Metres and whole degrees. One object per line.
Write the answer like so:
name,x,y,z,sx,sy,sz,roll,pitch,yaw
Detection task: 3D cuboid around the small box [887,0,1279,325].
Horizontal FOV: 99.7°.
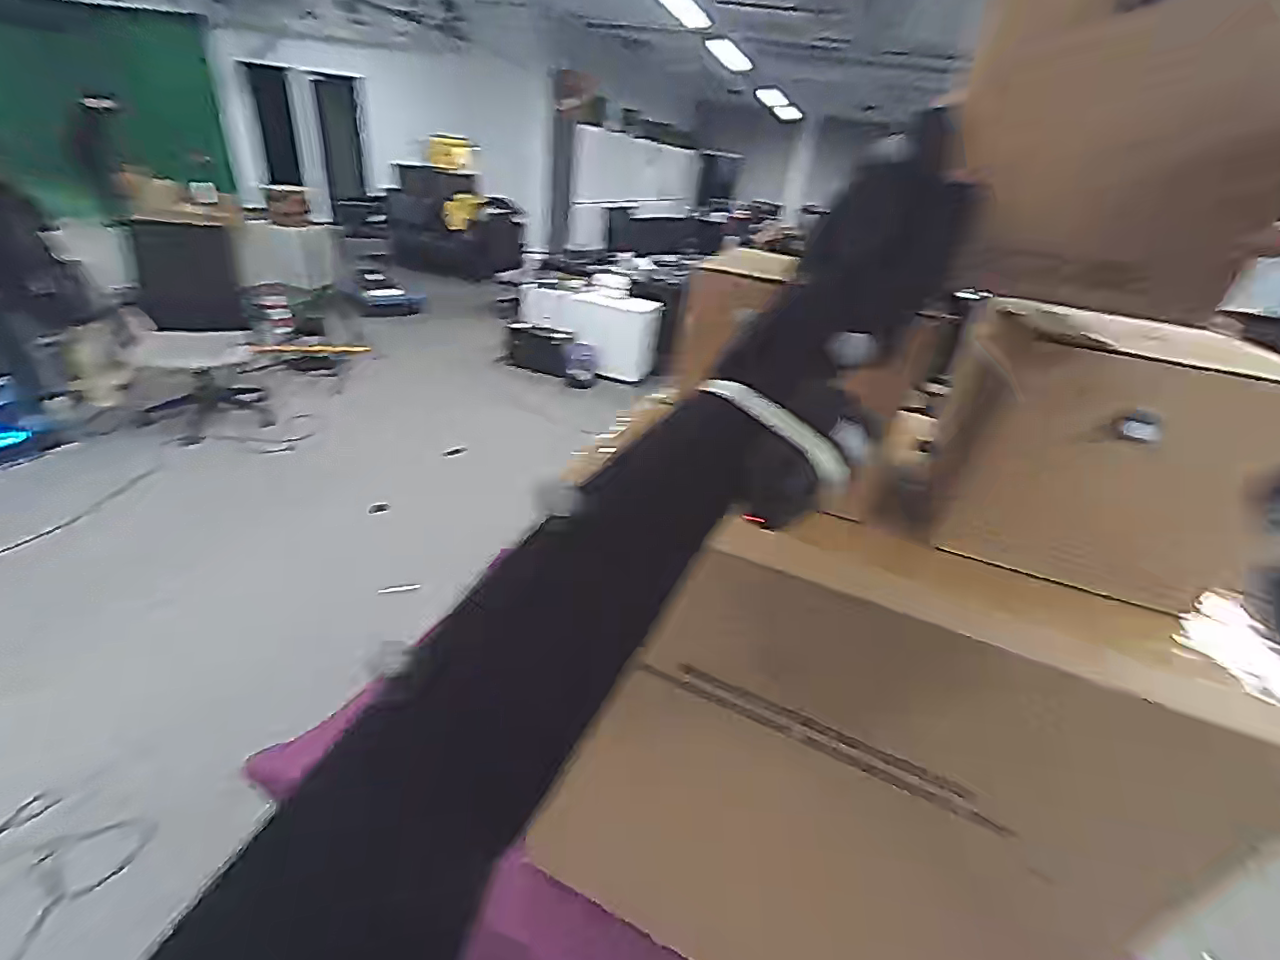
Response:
small box,0.273,-0.210,0.353,0.168,0.176,0.179,17,31,21

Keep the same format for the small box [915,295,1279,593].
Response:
small box,0.335,-0.038,0.425,0.179,0.176,0.168,16,31,13

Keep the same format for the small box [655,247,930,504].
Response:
small box,0.127,-0.098,0.482,0.179,0.176,0.168,16,30,13
